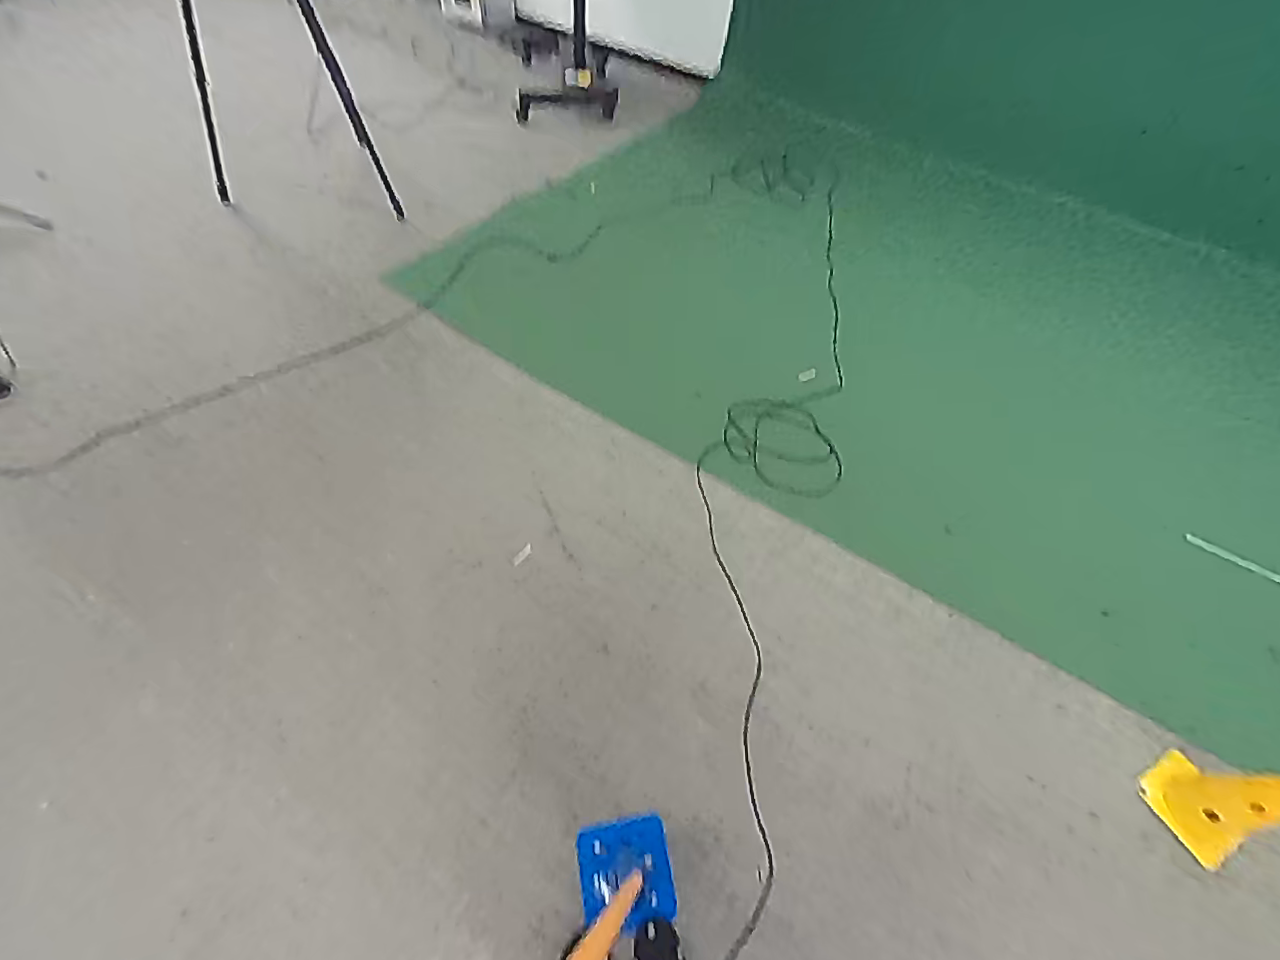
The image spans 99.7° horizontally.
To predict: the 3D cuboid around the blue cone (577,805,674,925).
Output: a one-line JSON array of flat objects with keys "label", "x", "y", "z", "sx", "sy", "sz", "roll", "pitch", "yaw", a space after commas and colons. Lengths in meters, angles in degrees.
[{"label": "blue cone", "x": -0.021, "y": 0.743, "z": 1.039, "sx": 0.193, "sy": 0.380, "sz": 0.192, "roll": -8, "pitch": 58, "yaw": -10}]
